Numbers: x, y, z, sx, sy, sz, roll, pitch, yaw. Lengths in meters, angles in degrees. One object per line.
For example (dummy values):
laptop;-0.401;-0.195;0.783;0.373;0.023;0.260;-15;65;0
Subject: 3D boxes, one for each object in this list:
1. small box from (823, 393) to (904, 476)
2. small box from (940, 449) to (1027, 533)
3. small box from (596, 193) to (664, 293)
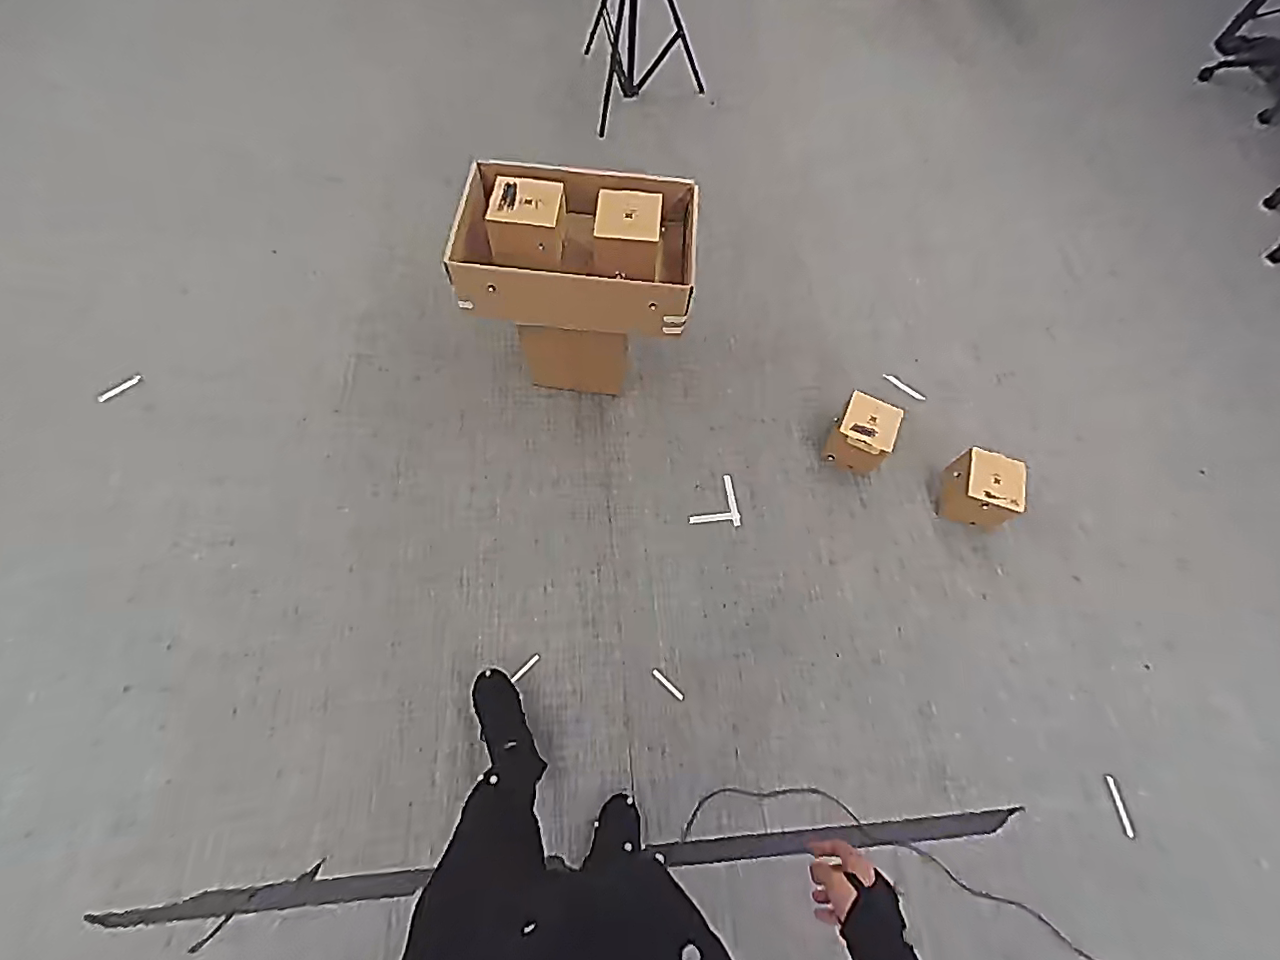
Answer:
small box;0.708;-0.139;1.733;0.168;0.176;0.179;25;66;8
small box;1.058;0.038;1.674;0.168;0.176;0.179;19;65;5
small box;-0.029;-0.633;1.451;0.168;0.176;0.179;4;64;0
